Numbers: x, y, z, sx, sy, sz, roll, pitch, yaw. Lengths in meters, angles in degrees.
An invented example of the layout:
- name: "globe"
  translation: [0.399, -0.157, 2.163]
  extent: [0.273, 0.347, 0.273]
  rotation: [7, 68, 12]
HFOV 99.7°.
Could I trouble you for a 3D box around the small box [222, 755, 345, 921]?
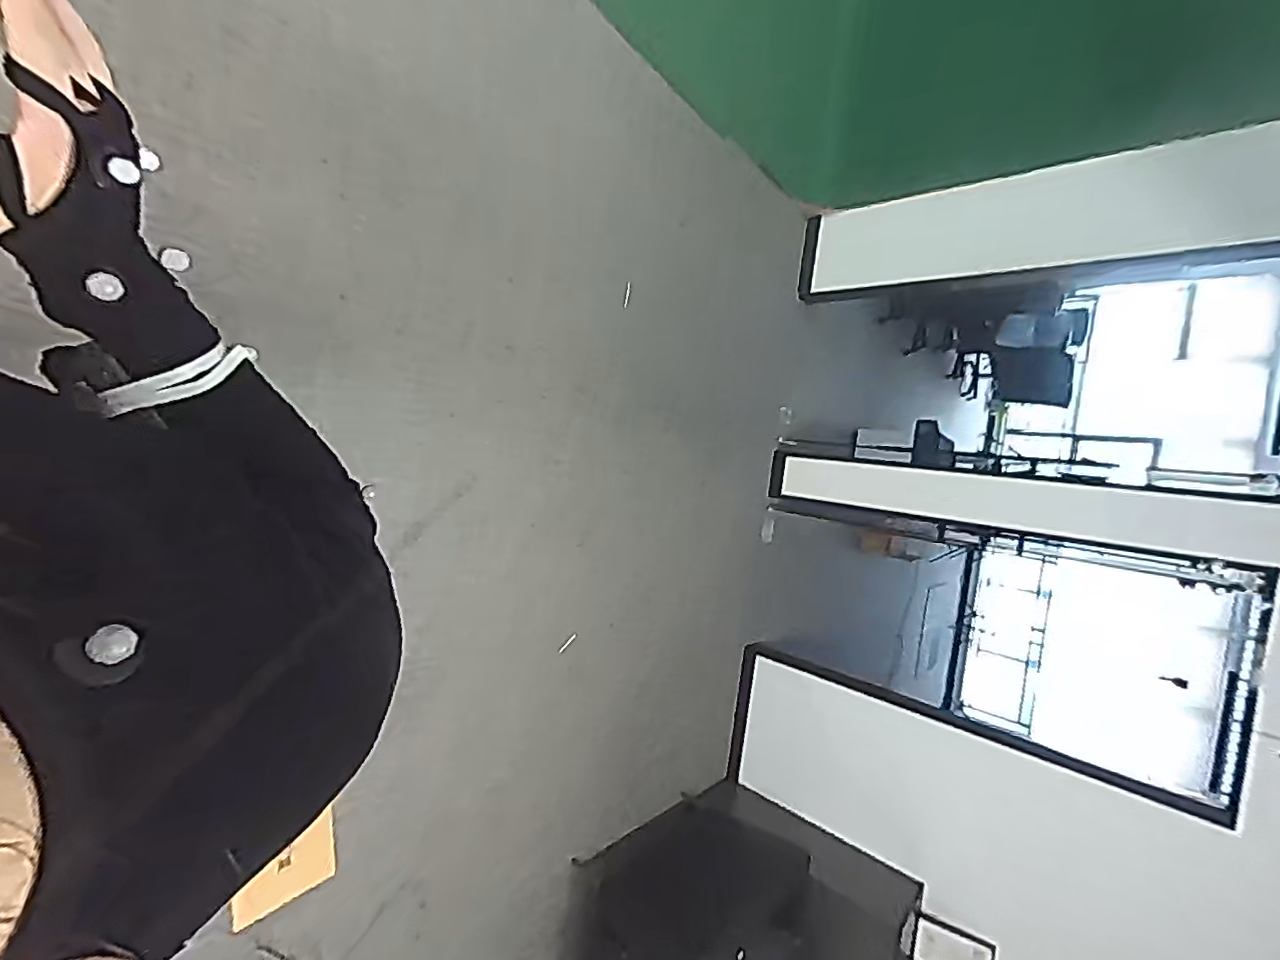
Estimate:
- name: "small box"
  translation: [-0.697, 0.683, 1.058]
  extent: [0.168, 0.176, 0.179]
  rotation: [-8, 103, -47]
